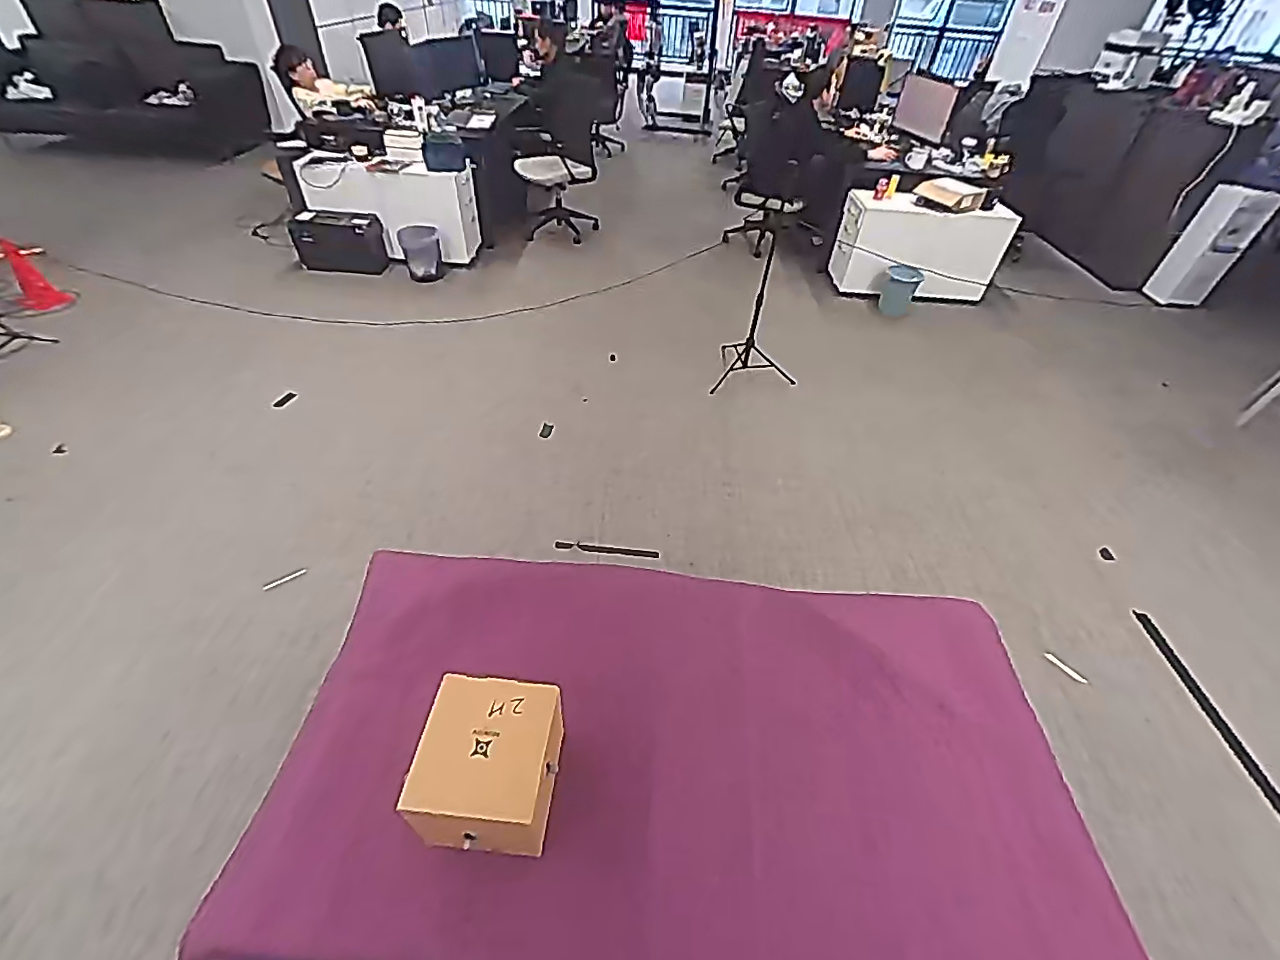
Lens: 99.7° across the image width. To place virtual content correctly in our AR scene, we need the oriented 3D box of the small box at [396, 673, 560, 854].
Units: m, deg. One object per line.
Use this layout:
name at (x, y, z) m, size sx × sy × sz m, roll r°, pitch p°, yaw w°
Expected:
small box at (-0.209, 0.399, 0.758) m, size 0.168 × 0.176 × 0.179 m, roll 7°, pitch 44°, yaw 1°
